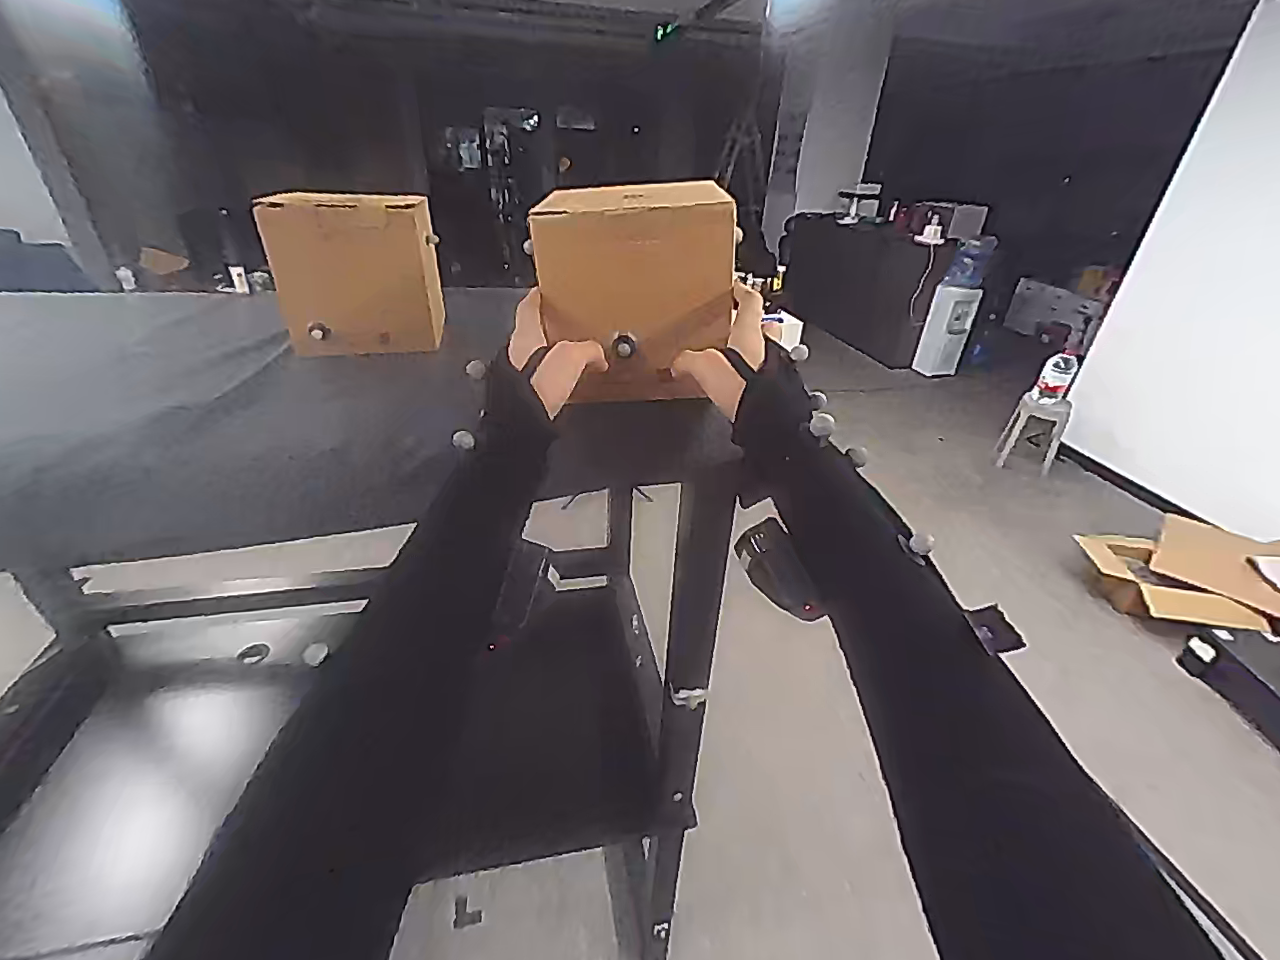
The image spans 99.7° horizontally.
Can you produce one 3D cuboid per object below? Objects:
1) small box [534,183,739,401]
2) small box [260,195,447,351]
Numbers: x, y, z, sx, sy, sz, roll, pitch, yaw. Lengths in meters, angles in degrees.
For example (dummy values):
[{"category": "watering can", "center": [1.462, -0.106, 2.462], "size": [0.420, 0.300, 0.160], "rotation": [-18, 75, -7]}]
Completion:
[{"category": "small box", "center": [0.001, -0.189, 0.537], "size": [0.168, 0.176, 0.179], "rotation": [-3, 34, 2]}, {"category": "small box", "center": [-0.352, -0.271, 0.705], "size": [0.168, 0.176, 0.179], "rotation": [-5, 31, -13]}]
